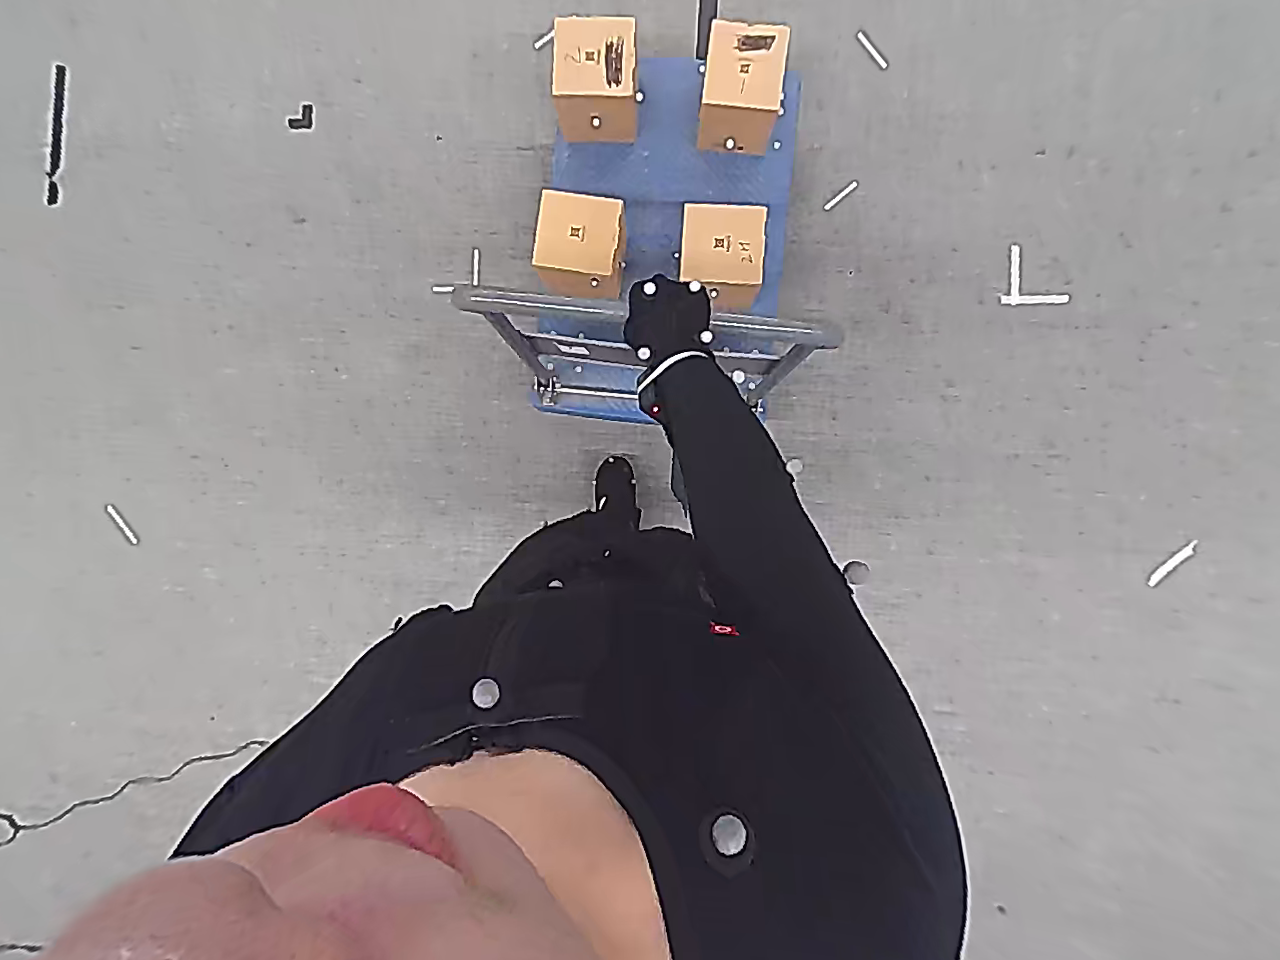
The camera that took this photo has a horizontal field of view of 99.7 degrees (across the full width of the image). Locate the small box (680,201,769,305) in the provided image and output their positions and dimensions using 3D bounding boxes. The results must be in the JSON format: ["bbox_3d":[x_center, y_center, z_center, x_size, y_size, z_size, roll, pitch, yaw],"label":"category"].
[{"bbox_3d":[0.182,-0.501,1.213,0.179,0.176,0.168,4,91,2],"label":"small box"}]

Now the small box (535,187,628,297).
[{"bbox_3d":[-0.125,-0.530,1.224,0.179,0.176,0.168,8,91,1],"label":"small box"}]

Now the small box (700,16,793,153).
[{"bbox_3d":[0.229,-0.872,1.205,0.168,0.176,0.179,8,92,2],"label":"small box"}]
